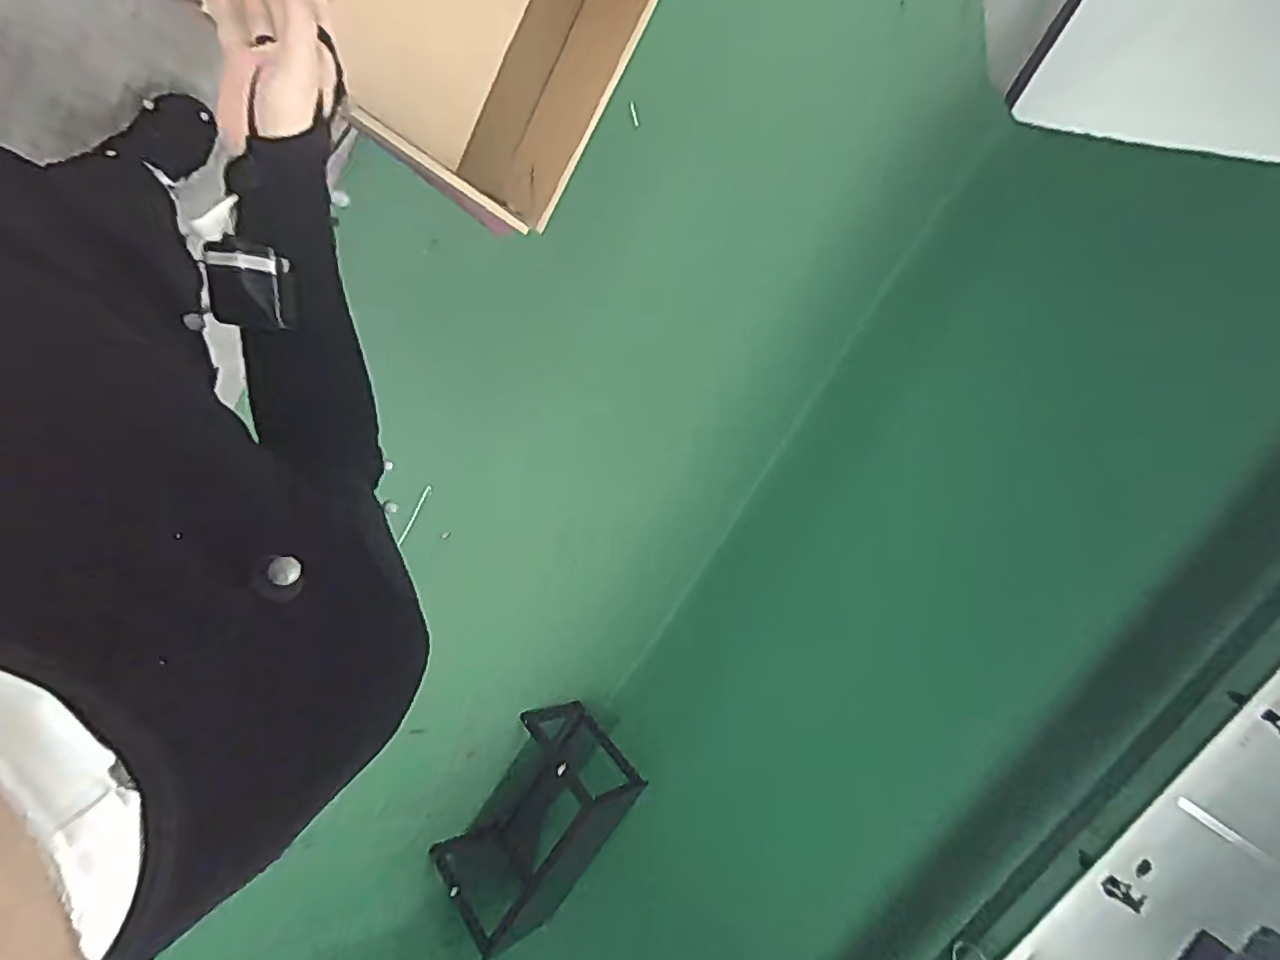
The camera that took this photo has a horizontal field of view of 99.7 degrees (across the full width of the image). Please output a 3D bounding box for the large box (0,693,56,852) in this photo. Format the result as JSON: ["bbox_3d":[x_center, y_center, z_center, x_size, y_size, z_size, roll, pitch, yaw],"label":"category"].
[{"bbox_3d":[-1.757,0.772,1.289,0.408,0.320,0.320,-25,139,-36],"label":"large box"}]
